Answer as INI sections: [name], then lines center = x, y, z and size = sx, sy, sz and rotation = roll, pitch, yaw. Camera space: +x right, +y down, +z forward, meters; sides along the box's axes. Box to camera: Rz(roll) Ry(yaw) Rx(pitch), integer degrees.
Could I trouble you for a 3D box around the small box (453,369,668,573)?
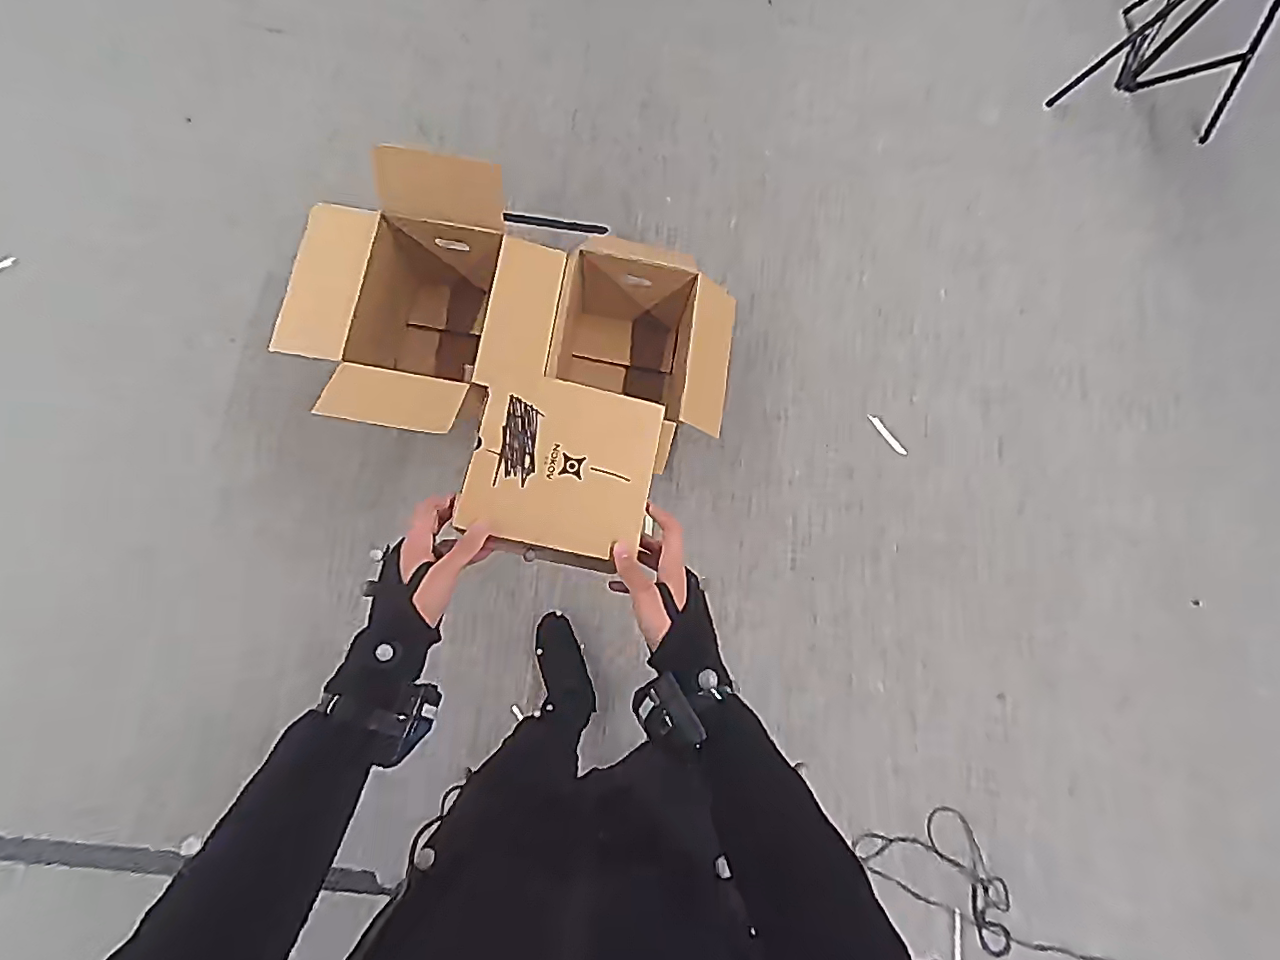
[small box]
center = -0.084, 0.004, 0.596
size = 0.179, 0.176, 0.168
rotation = 14, 75, -7
